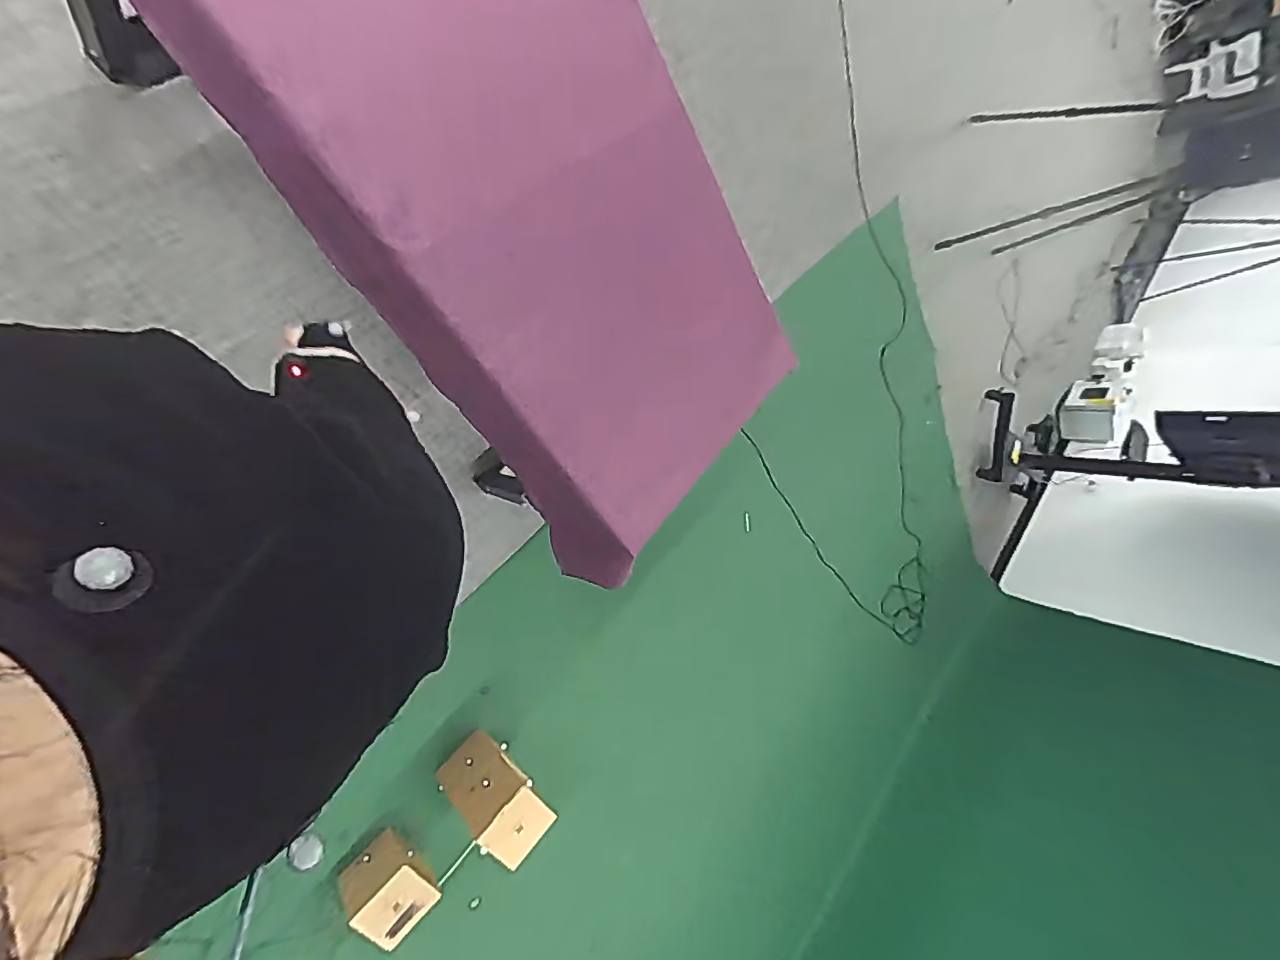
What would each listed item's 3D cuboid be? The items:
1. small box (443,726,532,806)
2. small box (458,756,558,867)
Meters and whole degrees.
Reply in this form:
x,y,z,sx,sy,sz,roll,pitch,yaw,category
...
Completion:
x,y,z,sx,sy,sz,roll,pitch,yaw,category
-0.464,0.884,1.619,0.179,0.176,0.168,-45,121,-25,small box
-0.366,0.903,1.490,0.168,0.176,0.179,-44,121,-25,small box
